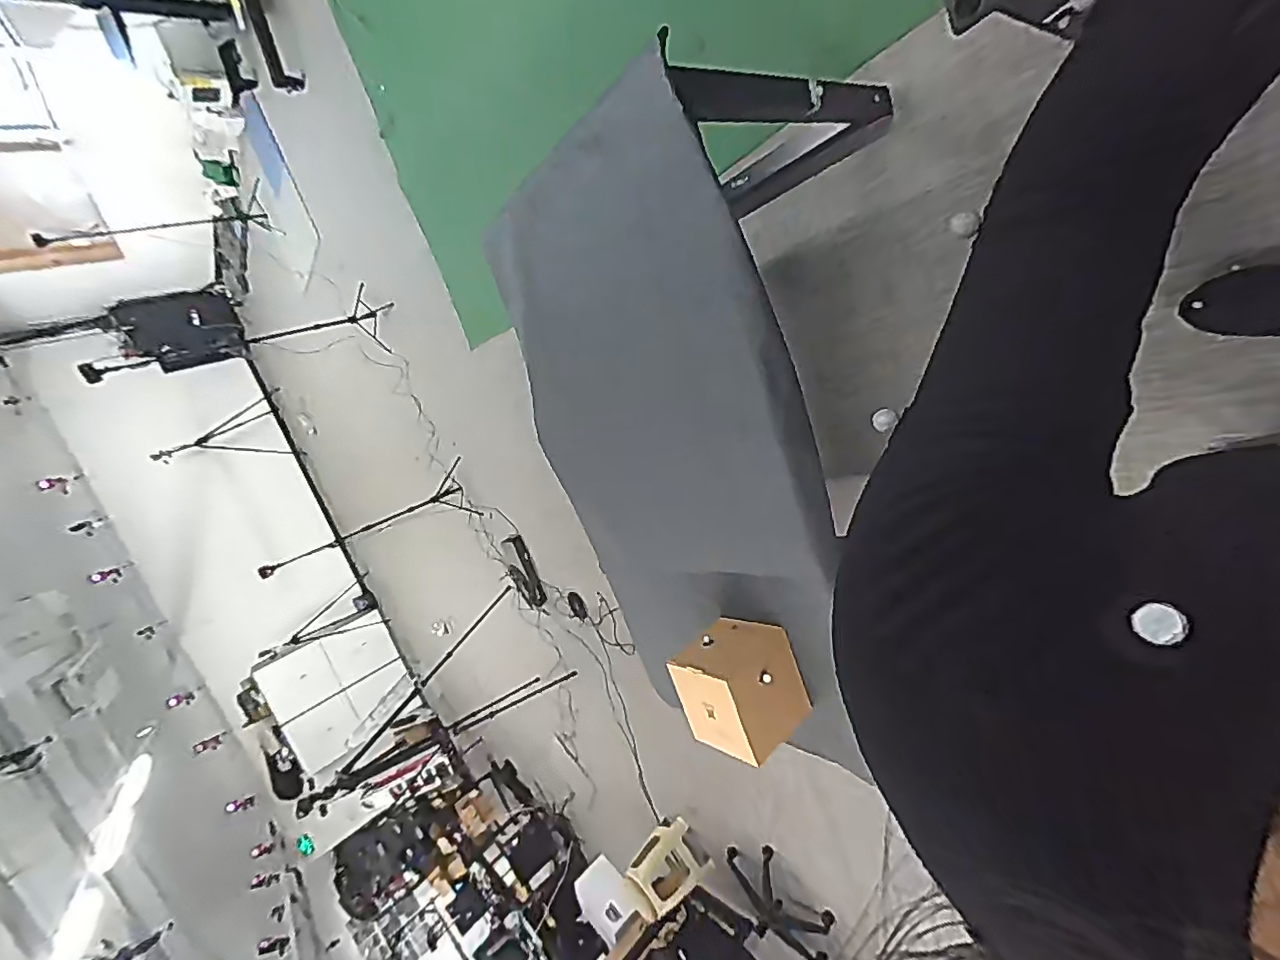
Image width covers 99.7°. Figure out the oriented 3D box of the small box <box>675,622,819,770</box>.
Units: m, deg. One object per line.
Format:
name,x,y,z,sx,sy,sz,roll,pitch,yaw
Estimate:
small box,0.200,0.387,1.006,0.168,0.176,0.179,-9,106,55
